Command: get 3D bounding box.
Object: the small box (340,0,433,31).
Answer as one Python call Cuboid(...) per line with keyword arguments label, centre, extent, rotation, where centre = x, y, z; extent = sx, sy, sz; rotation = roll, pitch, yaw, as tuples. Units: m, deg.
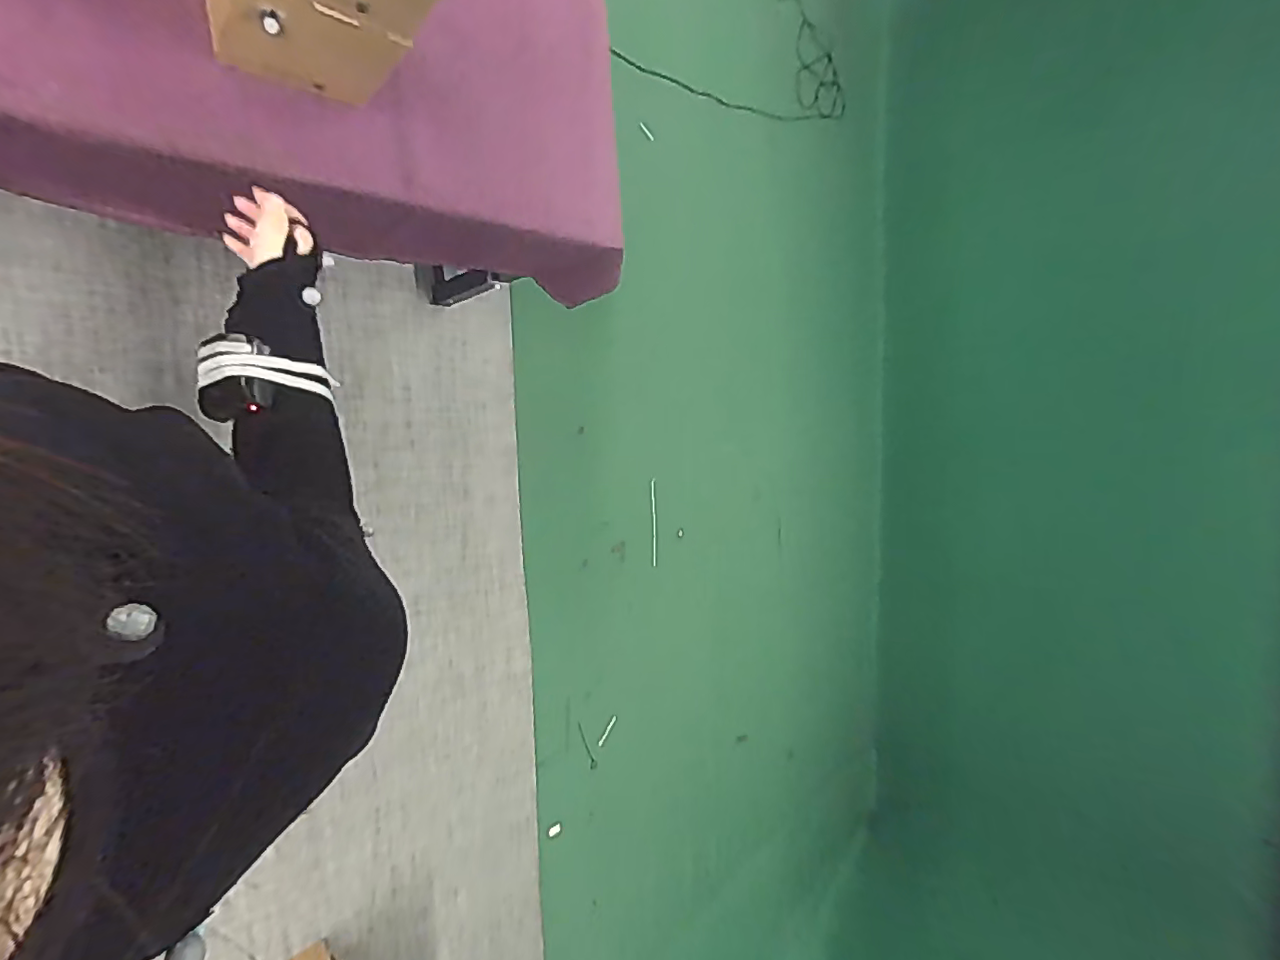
Cuboid(label="small box", centre=(-0.270, -0.581, 0.504), extent=(0.168, 0.176, 0.179), rotation=(-12, 99, -44))
